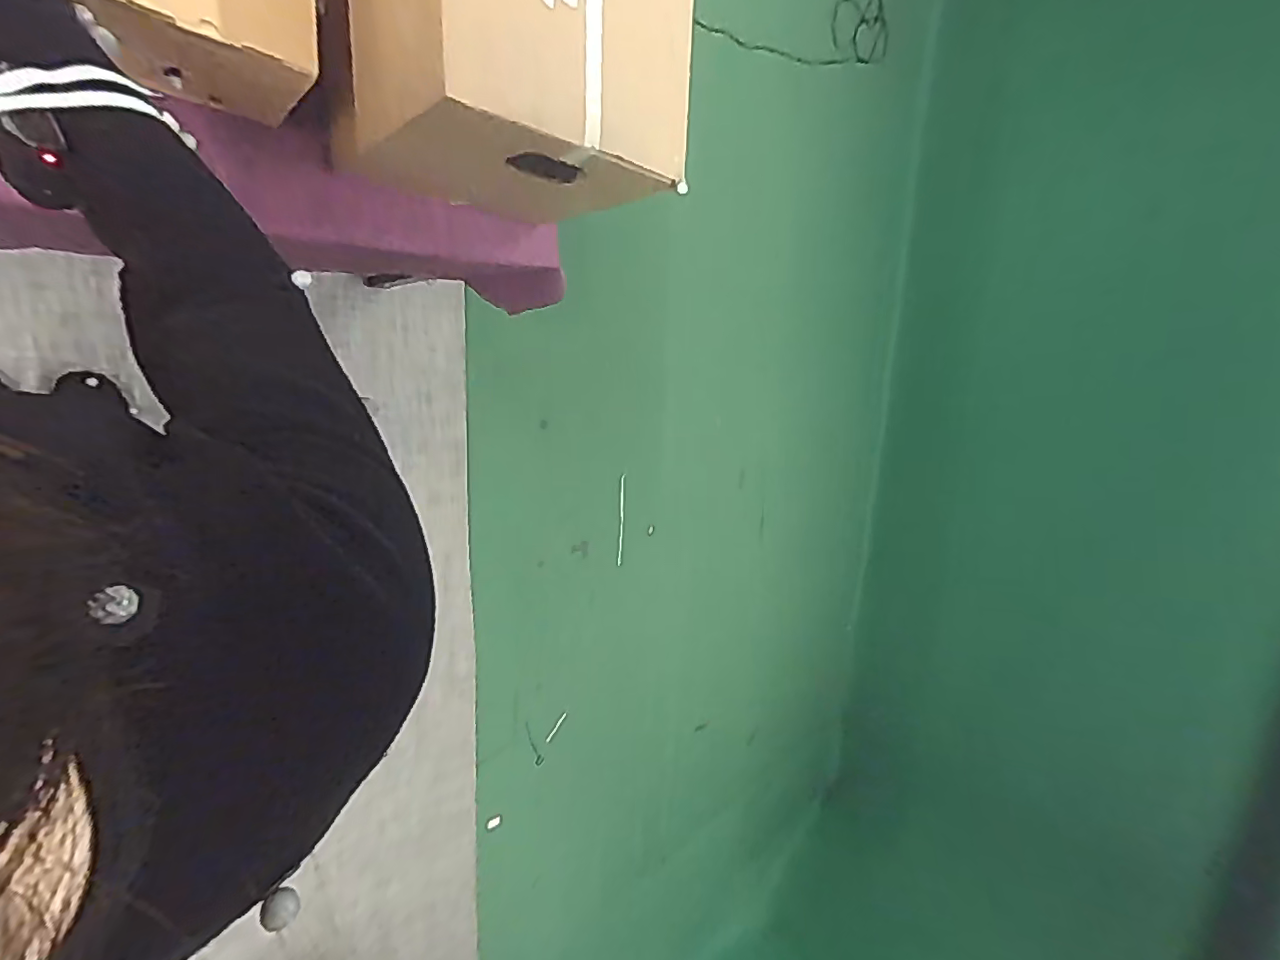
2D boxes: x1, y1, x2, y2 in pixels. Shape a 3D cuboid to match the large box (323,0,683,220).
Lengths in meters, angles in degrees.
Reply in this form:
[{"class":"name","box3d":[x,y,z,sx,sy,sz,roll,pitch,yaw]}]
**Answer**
[{"class":"large box","box3d":[-0.163,-0.571,0.639,0.320,0.320,0.408,-10,108,-44]}]
